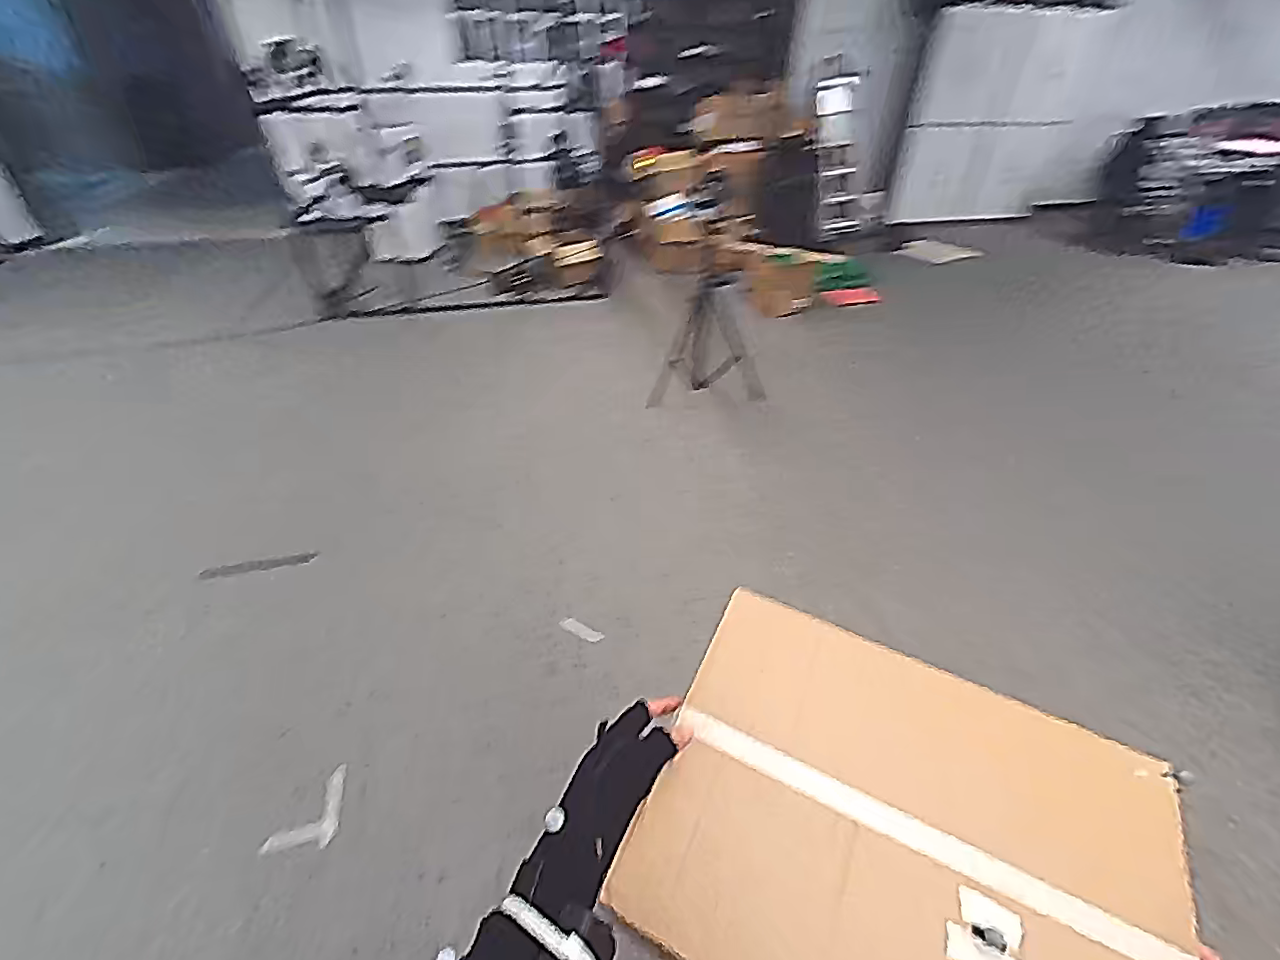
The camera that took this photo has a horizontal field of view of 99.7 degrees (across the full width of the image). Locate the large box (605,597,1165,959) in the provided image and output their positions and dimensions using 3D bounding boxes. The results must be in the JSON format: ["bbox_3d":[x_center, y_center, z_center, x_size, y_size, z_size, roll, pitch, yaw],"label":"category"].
[{"bbox_3d":[0.210,0.391,0.569,0.408,0.320,0.320,20,51,17],"label":"large box"}]
